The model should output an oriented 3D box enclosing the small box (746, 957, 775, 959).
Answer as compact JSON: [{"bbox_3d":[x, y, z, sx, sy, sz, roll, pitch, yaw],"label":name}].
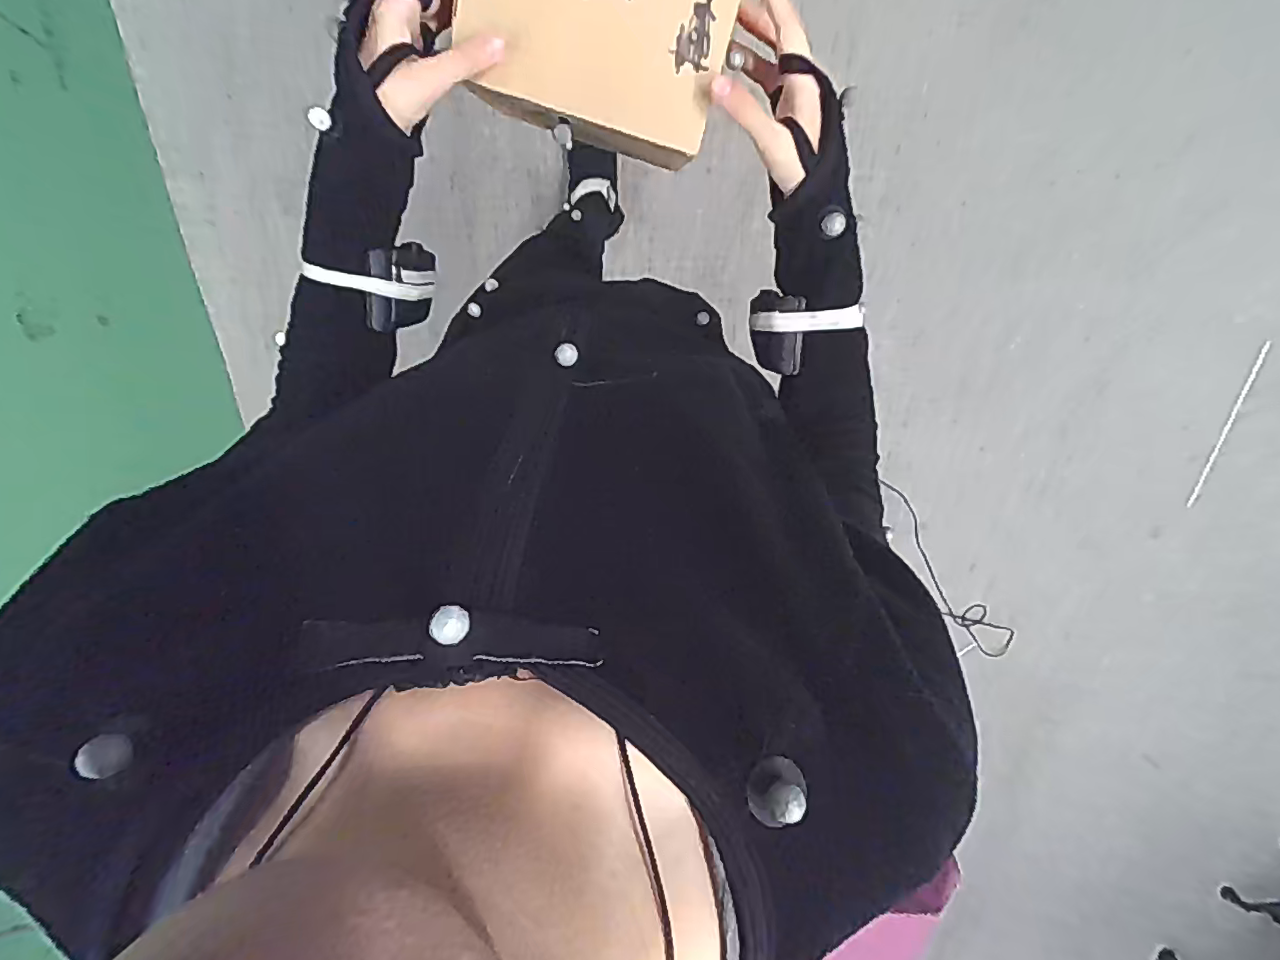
[{"bbox_3d":[0.319,1.258,1.261,0.179,0.176,0.168,12,114,-5],"label":"small box"}]
